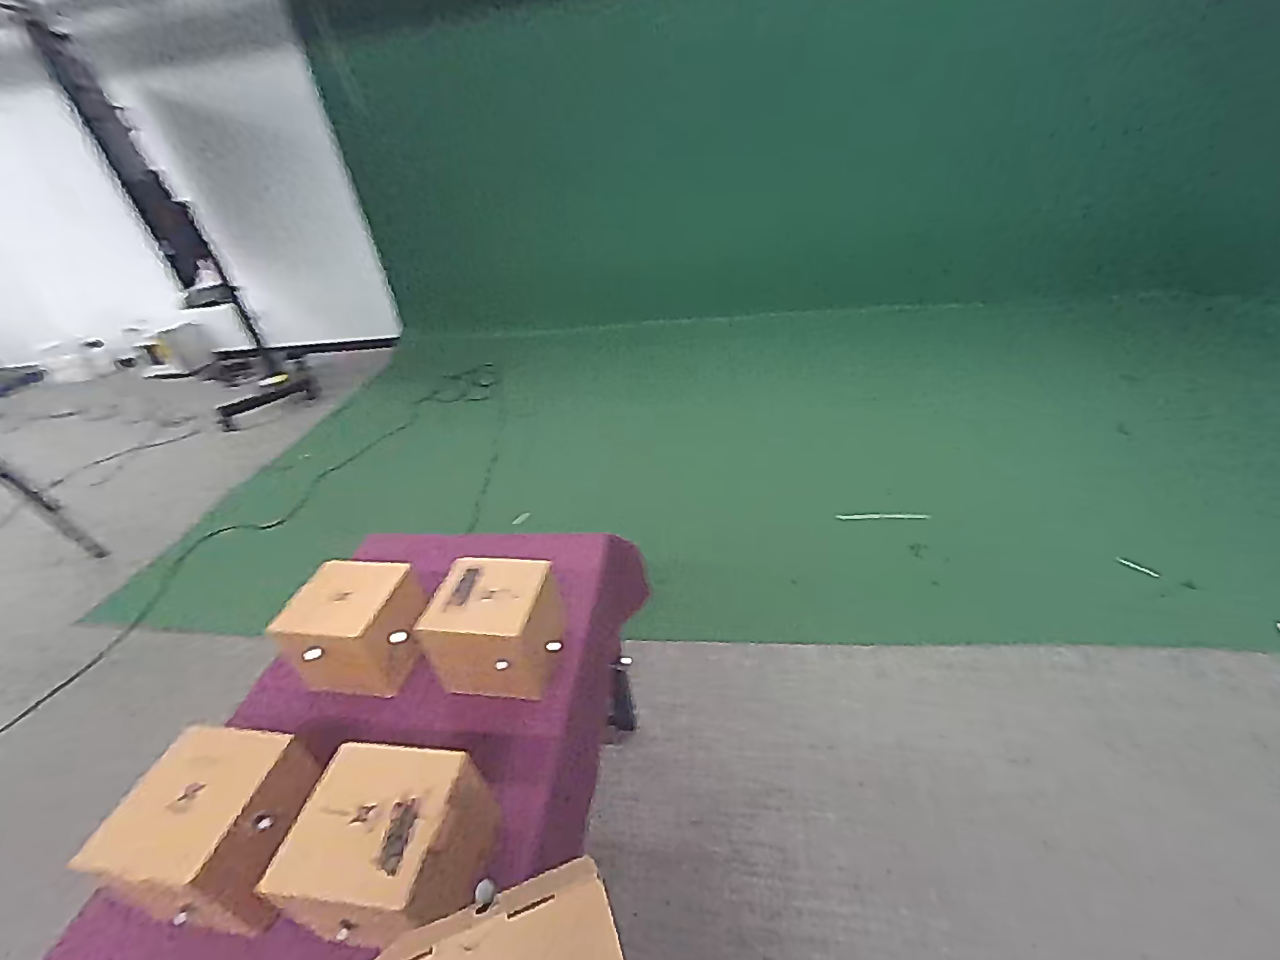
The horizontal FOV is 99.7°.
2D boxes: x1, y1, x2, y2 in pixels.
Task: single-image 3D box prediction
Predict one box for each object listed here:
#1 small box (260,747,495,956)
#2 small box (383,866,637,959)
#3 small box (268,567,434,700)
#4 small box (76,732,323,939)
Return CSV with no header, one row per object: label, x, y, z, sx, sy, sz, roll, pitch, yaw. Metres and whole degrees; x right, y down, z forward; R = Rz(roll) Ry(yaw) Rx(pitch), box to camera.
small box,-0.303,0.461,0.672,0.179,0.176,0.168,-2,35,11
small box,-0.076,0.382,0.355,0.168,0.176,0.179,-14,61,-15
small box,-0.506,0.278,0.981,0.179,0.176,0.168,-1,35,12
small box,-0.548,0.468,0.717,0.168,0.176,0.179,0,35,11
